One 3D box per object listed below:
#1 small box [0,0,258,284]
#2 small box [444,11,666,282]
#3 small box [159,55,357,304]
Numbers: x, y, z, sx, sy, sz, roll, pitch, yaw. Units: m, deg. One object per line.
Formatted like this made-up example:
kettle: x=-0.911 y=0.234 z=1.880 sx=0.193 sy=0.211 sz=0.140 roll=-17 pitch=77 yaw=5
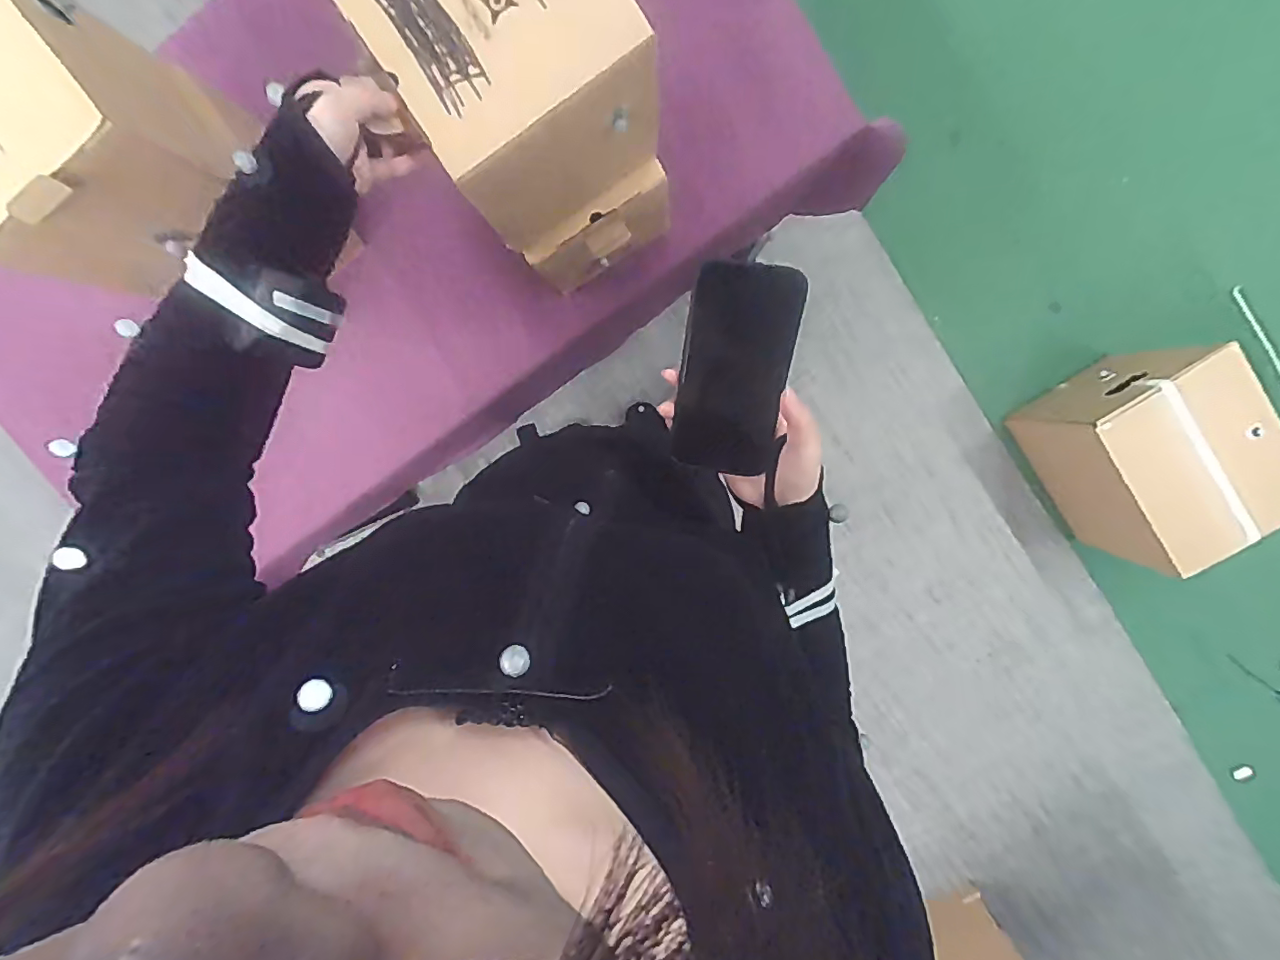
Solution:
small box: x=-0.505 y=-0.304 z=0.480 sx=0.168 sy=0.176 sz=0.179 roll=-35 pitch=96 yaw=7
small box: x=-0.084 y=-0.356 z=0.619 sx=0.168 sy=0.176 sz=0.179 roll=-29 pitch=97 yaw=7
small box: x=-0.484 y=-0.329 z=0.642 sx=0.168 sy=0.176 sz=0.179 roll=-35 pitch=96 yaw=7
